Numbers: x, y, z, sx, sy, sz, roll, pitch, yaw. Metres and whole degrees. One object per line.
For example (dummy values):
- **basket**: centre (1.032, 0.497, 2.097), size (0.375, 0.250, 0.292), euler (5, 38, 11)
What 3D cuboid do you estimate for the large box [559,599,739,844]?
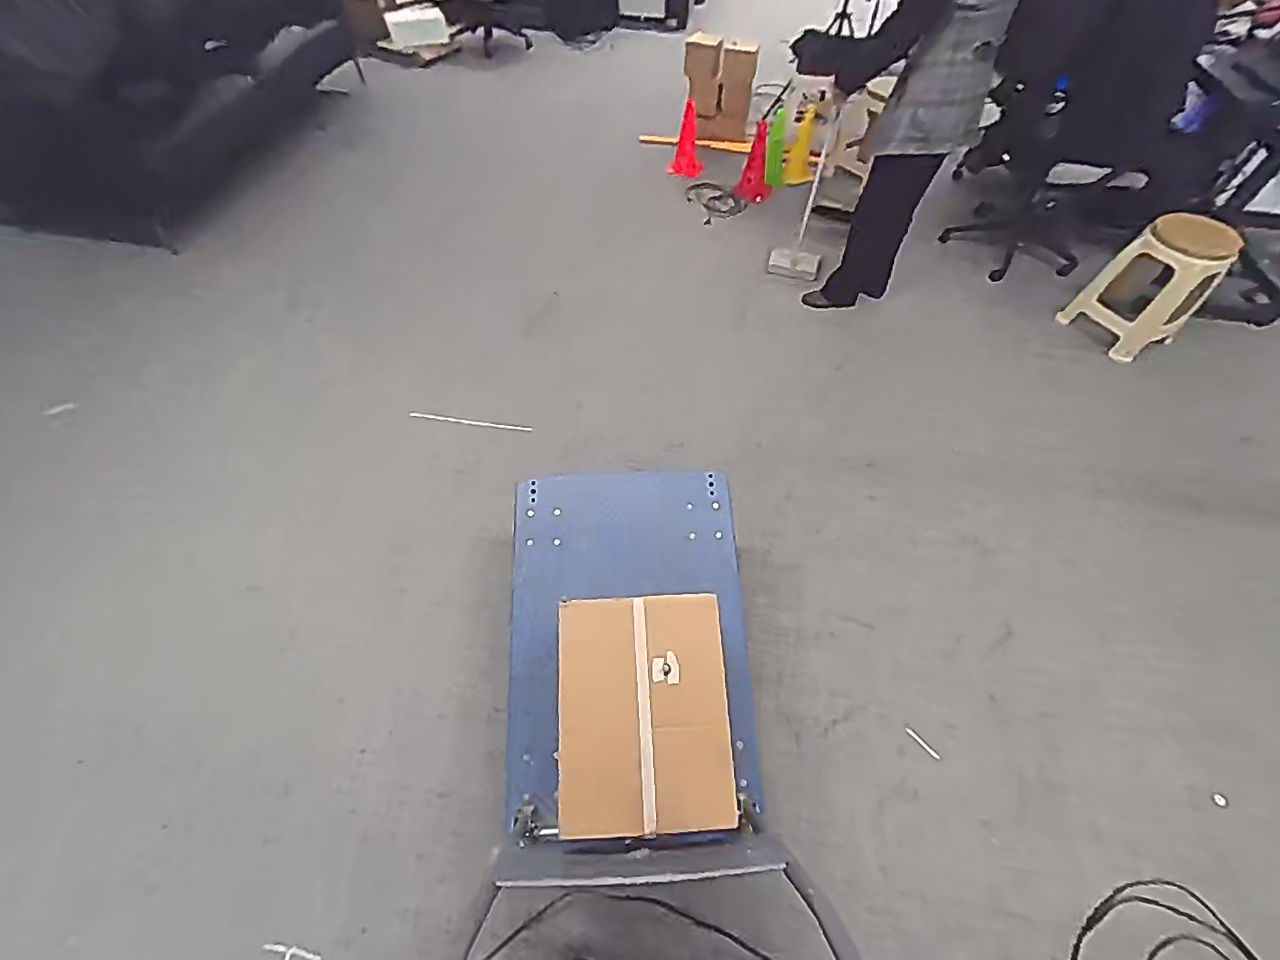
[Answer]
- **large box**: centre (0.005, 0.482, 1.135), size (0.320, 0.320, 0.408), euler (-2, 70, -3)
